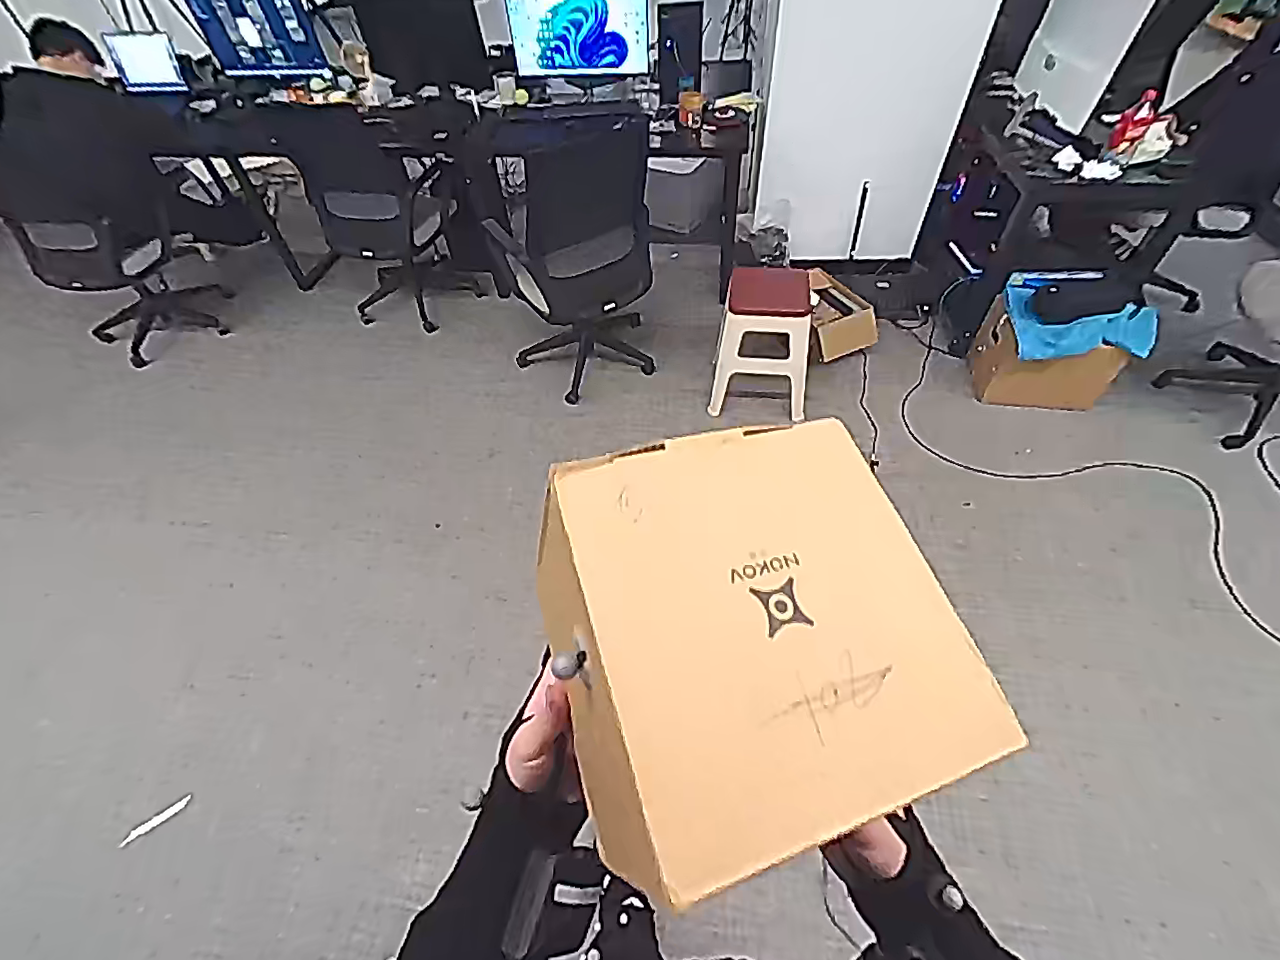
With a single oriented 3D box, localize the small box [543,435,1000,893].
[{"bbox_3d":[0.042,0.100,0.316,0.168,0.176,0.179,-10,63,-18],"label":"small box"}]
